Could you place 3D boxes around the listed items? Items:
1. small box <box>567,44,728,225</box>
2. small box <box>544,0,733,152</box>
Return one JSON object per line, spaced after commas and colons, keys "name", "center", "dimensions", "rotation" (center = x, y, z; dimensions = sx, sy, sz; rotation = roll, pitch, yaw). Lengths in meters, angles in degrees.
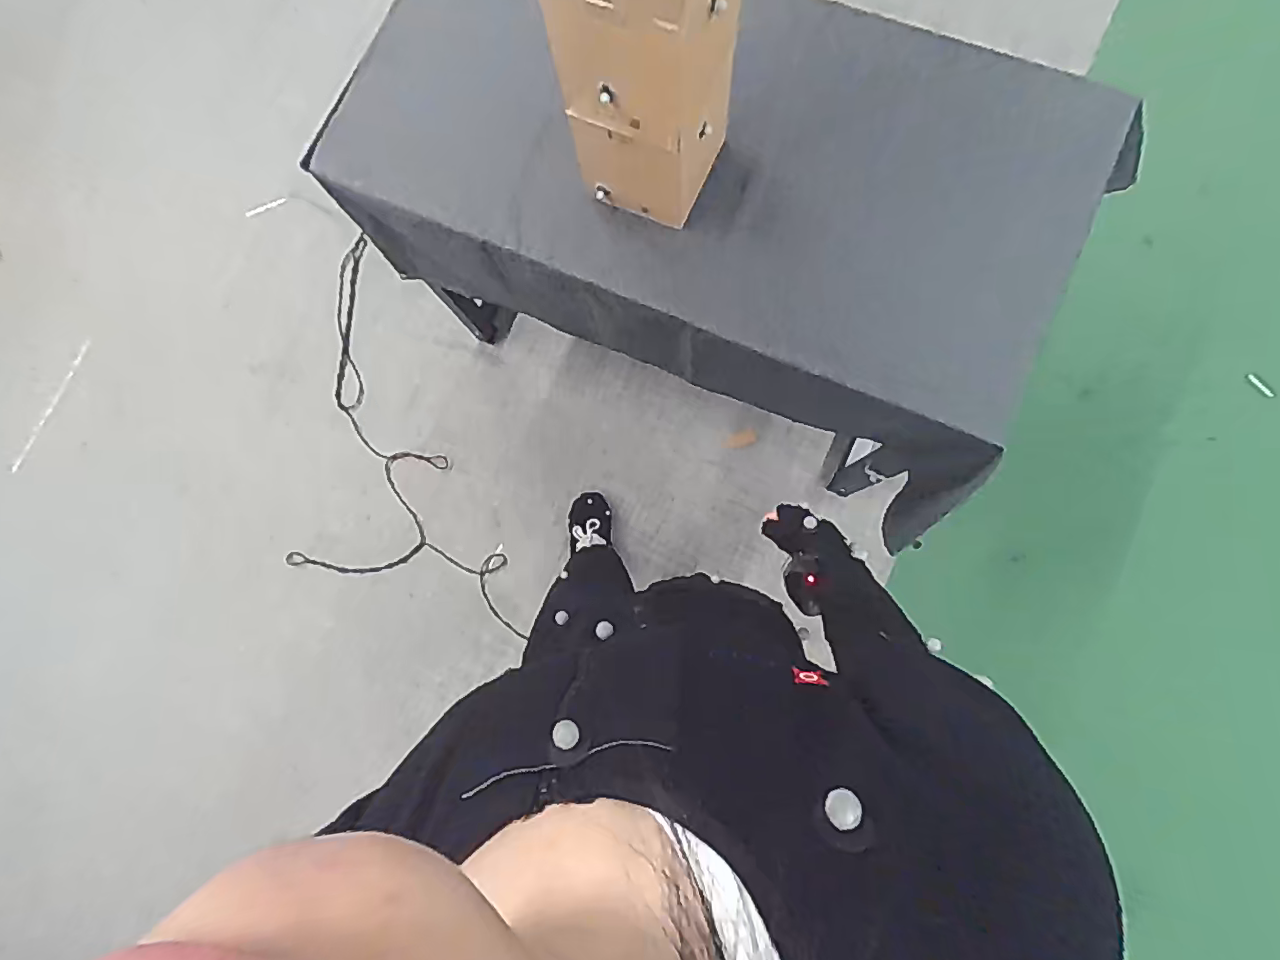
{"name": "small box", "center": [0.017, -0.514, 0.792], "dimensions": [0.168, 0.176, 0.179], "rotation": [24, 83, 8]}
{"name": "small box", "center": [0.005, -0.538, 0.632], "dimensions": [0.168, 0.176, 0.179], "rotation": [24, 84, 8]}
